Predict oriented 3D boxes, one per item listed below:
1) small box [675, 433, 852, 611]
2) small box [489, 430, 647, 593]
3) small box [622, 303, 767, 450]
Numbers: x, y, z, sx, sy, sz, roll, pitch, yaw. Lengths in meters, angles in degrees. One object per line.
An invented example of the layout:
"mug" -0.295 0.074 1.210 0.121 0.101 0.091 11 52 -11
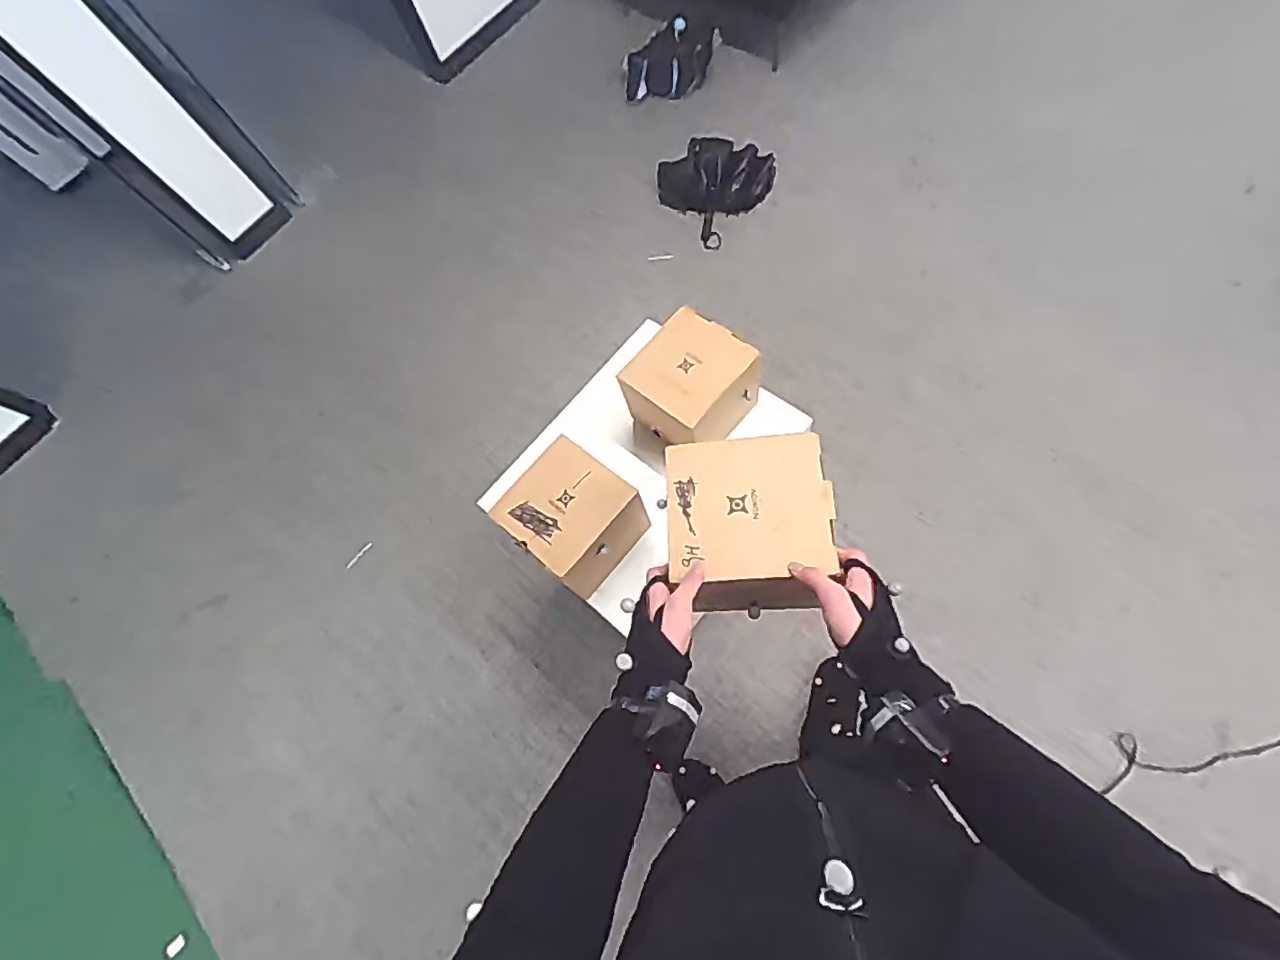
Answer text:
"small box" 0.137 0.059 0.651 0.179 0.176 0.168 -5 65 8
"small box" -0.104 0.059 0.874 0.168 0.176 0.179 38 76 19
"small box" 0.094 -0.159 0.932 0.168 0.176 0.179 39 80 20
